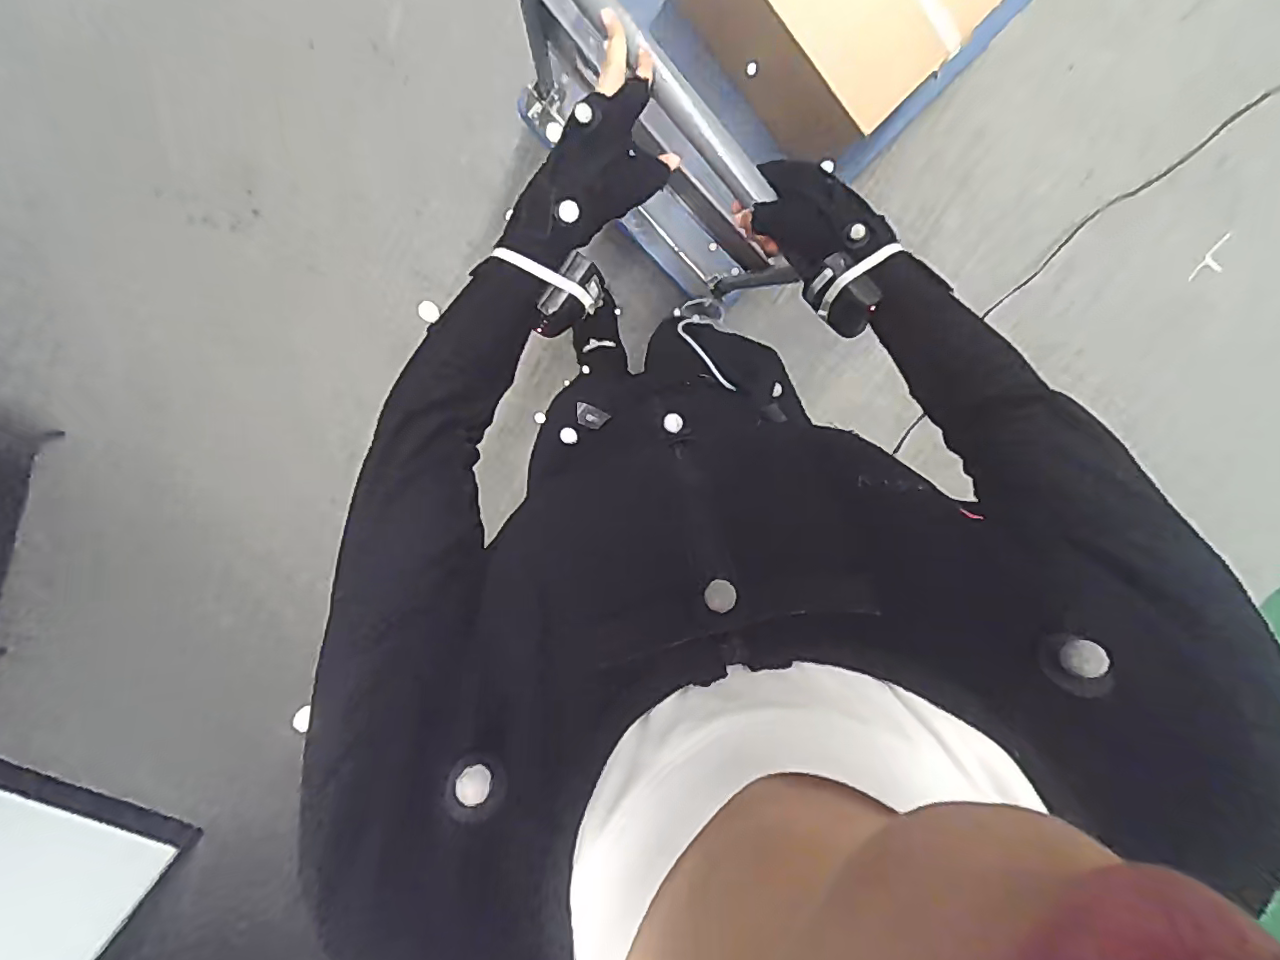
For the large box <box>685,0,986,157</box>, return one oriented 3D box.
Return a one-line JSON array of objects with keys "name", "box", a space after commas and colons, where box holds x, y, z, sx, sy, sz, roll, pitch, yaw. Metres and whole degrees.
[{"name": "large box", "box": [0.309, -0.821, 0.866, 0.320, 0.320, 0.408, -43, 105, 14]}]
